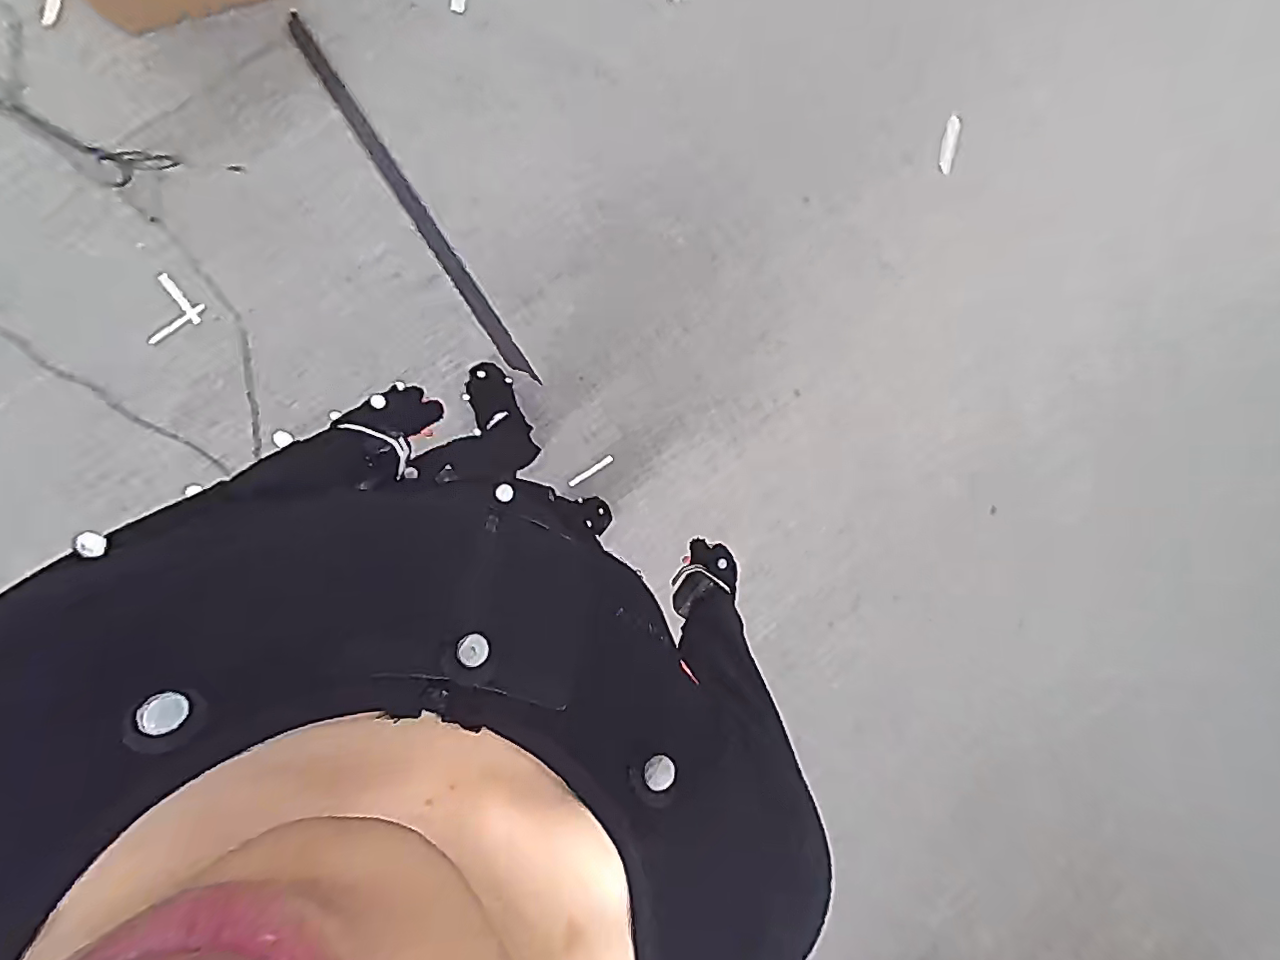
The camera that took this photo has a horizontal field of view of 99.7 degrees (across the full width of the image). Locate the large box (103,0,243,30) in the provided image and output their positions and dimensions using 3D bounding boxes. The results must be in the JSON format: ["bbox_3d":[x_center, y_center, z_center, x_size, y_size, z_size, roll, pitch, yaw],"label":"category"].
[{"bbox_3d":[-1.016,-1.231,1.102,0.408,0.320,0.320,-19,98,-3],"label":"large box"}]
